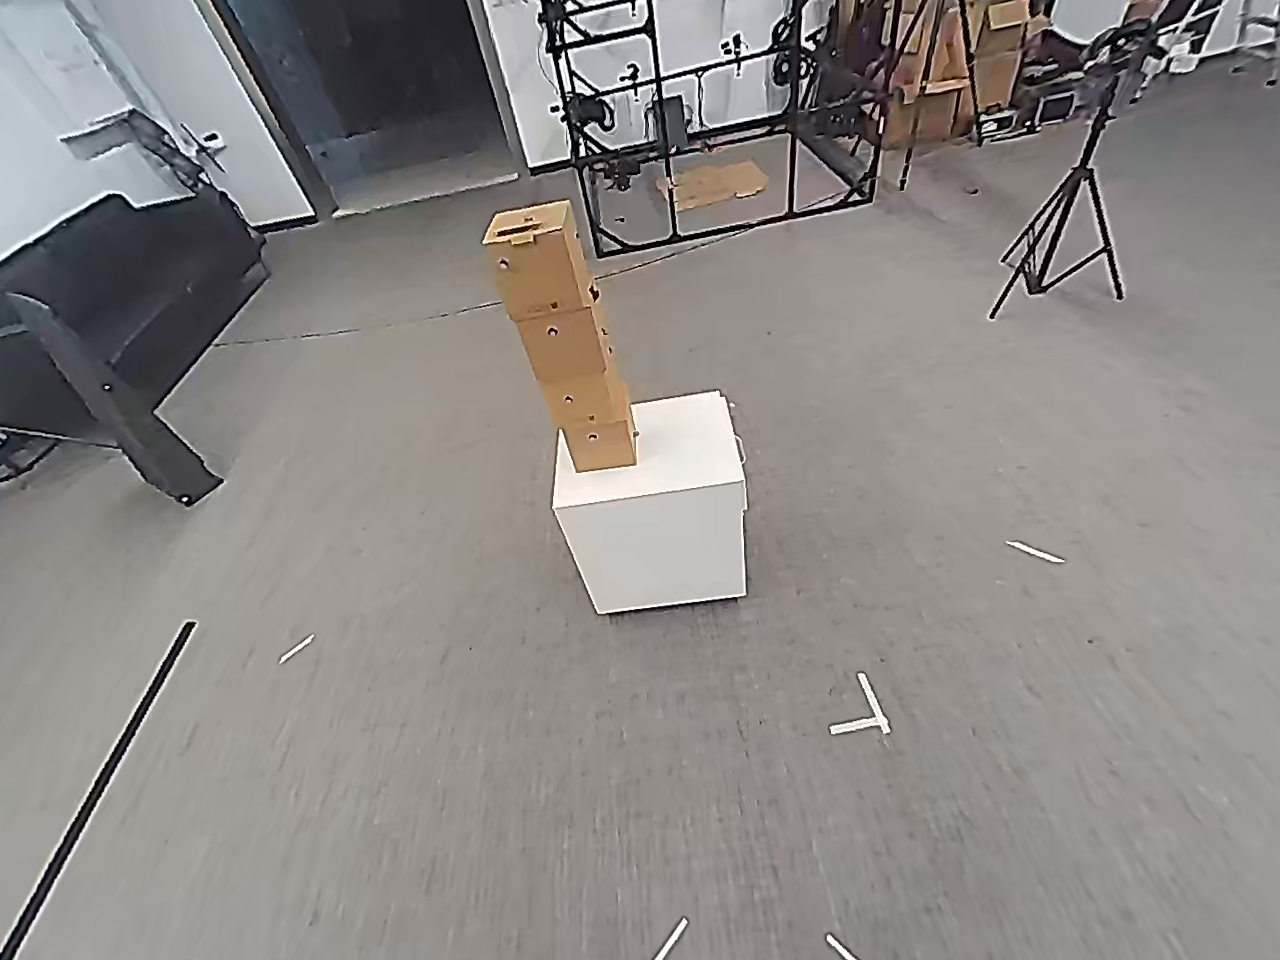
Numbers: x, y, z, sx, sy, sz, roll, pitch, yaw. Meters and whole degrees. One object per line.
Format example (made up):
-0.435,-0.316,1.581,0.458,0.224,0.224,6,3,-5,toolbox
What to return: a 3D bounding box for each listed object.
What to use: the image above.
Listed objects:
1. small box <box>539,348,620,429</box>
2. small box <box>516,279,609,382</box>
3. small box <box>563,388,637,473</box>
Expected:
-0.150,-0.245,1.408,0.168,0.176,0.179,-6,45,7,small box
-0.176,-0.350,1.283,0.179,0.176,0.168,-8,45,5,small box
-0.107,-0.136,1.521,0.179,0.176,0.168,-6,45,5,small box
